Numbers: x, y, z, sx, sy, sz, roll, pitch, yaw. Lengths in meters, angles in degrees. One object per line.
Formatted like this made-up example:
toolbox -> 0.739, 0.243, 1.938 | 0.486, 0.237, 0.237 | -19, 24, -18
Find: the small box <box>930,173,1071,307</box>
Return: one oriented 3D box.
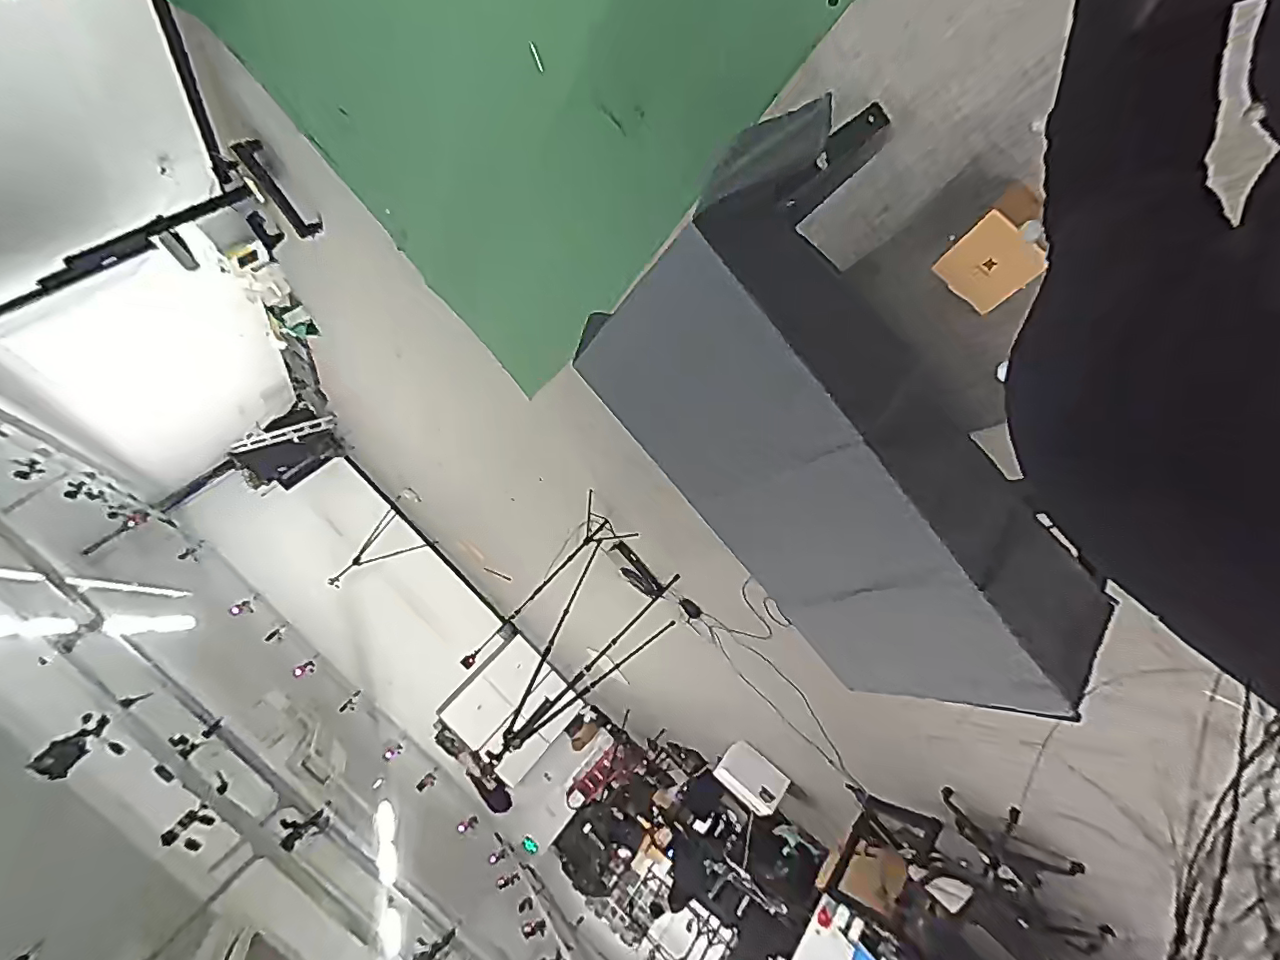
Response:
small box -> 0.800, -0.530, 1.200 | 0.168, 0.176, 0.179 | 43, 154, 2
